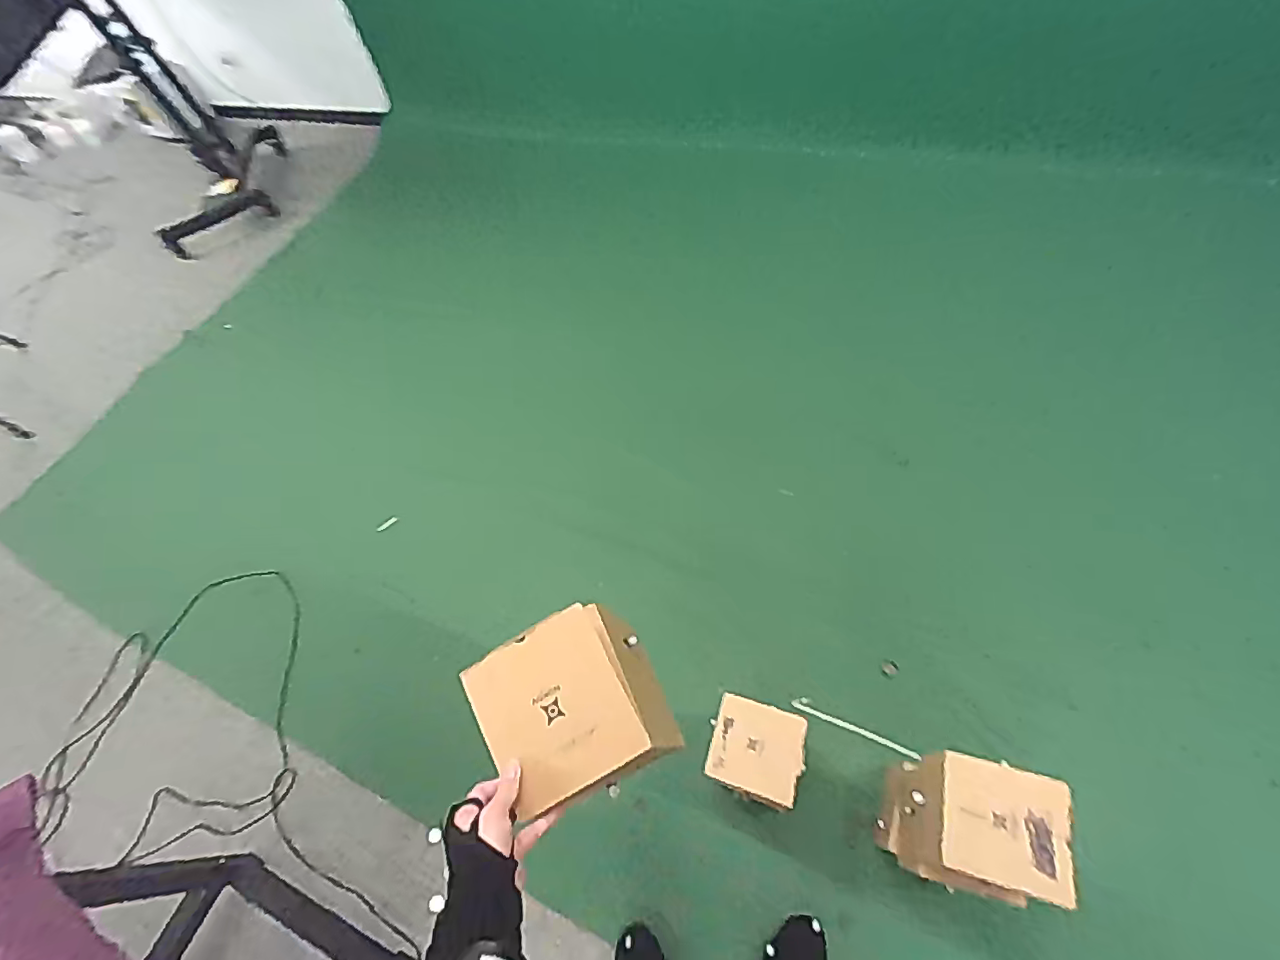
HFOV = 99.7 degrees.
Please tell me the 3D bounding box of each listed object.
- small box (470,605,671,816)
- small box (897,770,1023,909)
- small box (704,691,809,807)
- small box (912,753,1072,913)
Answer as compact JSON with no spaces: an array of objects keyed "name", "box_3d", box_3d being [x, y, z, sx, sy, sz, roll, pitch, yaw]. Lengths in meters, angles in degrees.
[{"name":"small box","box_3d":[-0.080,0.286,0.677,0.168,0.176,0.179,-30,61,3]},{"name":"small box","box_3d":[0.594,0.663,1.021,0.168,0.176,0.179,8,63,17]},{"name":"small box","box_3d":[0.248,0.572,1.152,0.179,0.176,0.168,14,63,19]},{"name":"small box","box_3d":[0.568,0.566,0.890,0.179,0.176,0.168,11,63,18]}]
